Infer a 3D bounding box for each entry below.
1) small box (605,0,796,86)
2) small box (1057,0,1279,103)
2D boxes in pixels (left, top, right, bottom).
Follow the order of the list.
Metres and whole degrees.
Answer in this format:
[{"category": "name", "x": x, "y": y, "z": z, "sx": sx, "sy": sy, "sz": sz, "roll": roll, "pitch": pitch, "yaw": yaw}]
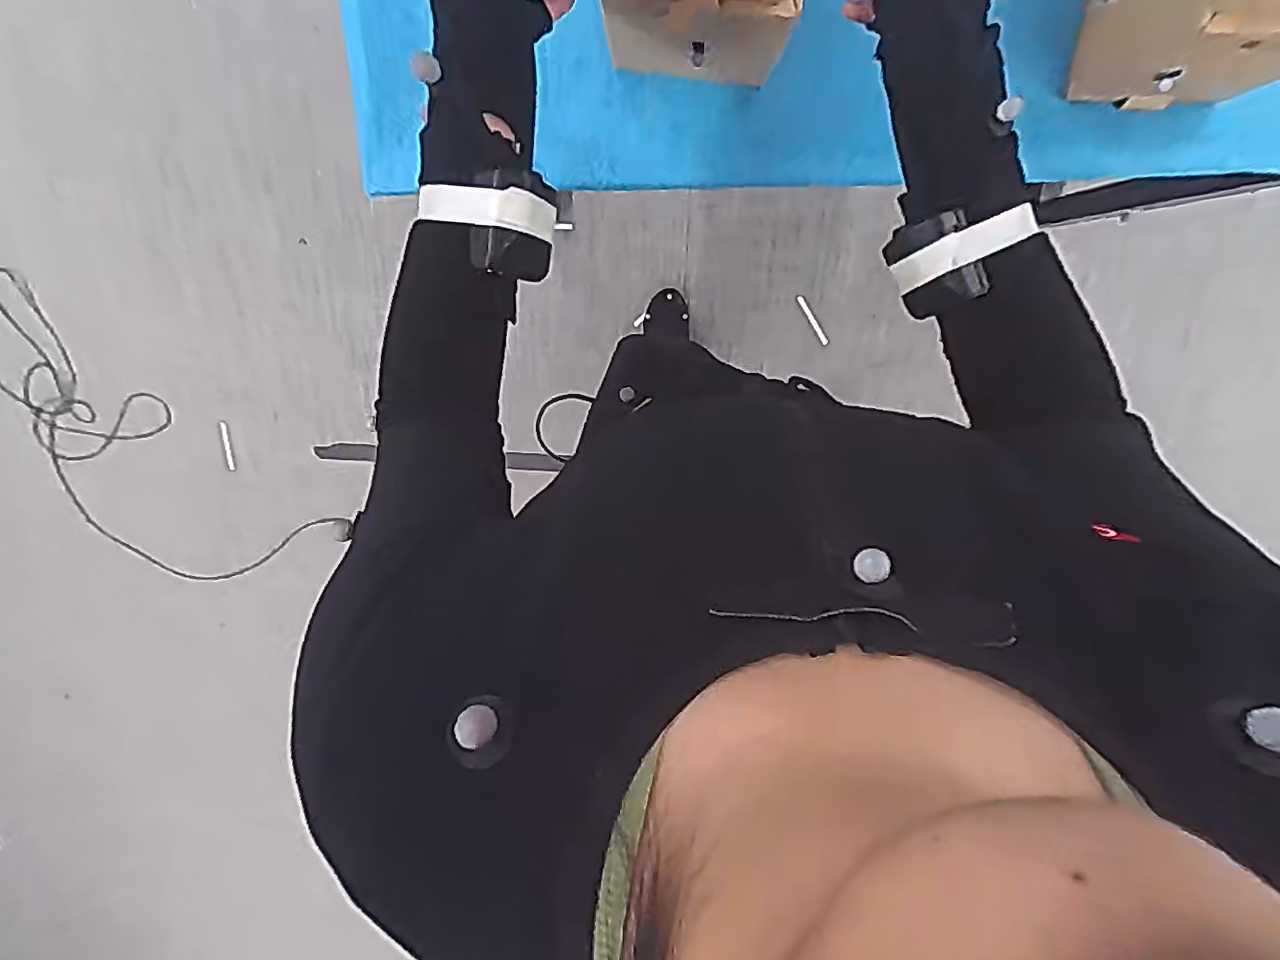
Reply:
[{"category": "small box", "x": 0.059, "y": -0.492, "z": 0.485, "sx": 0.168, "sy": 0.176, "sz": 0.179, "roll": 6, "pitch": 110, "yaw": -1}, {"category": "small box", "x": 0.528, "y": -0.464, "z": 0.478, "sx": 0.168, "sy": 0.176, "sz": 0.179, "roll": 1, "pitch": 109, "yaw": 2}]
